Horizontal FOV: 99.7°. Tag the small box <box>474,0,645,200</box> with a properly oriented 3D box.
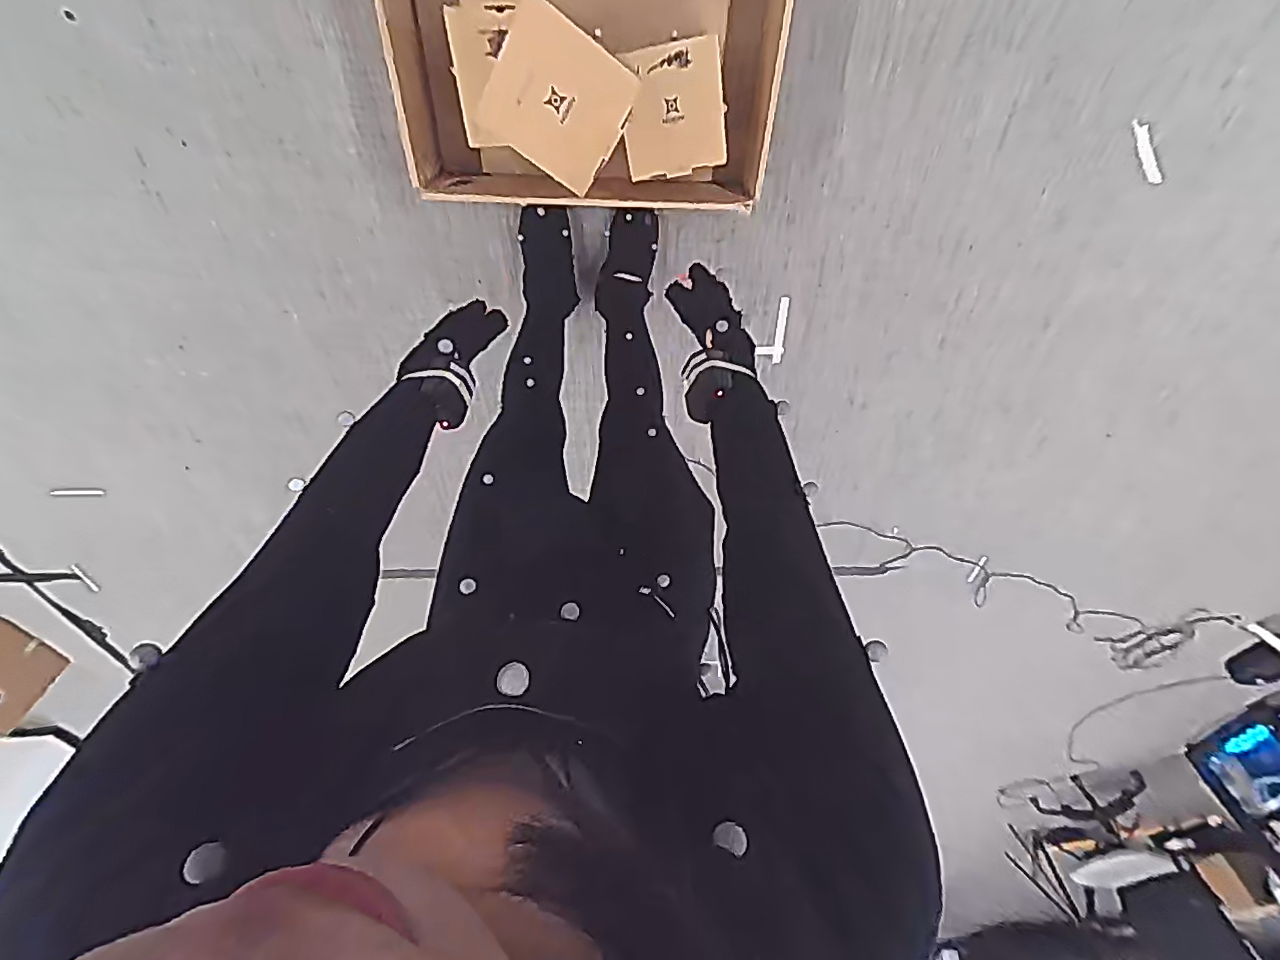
[{"bbox_3d":[-0.111,-0.547,0.781,0.179,0.176,0.168,27,121,-21],"label":"small box"}]
